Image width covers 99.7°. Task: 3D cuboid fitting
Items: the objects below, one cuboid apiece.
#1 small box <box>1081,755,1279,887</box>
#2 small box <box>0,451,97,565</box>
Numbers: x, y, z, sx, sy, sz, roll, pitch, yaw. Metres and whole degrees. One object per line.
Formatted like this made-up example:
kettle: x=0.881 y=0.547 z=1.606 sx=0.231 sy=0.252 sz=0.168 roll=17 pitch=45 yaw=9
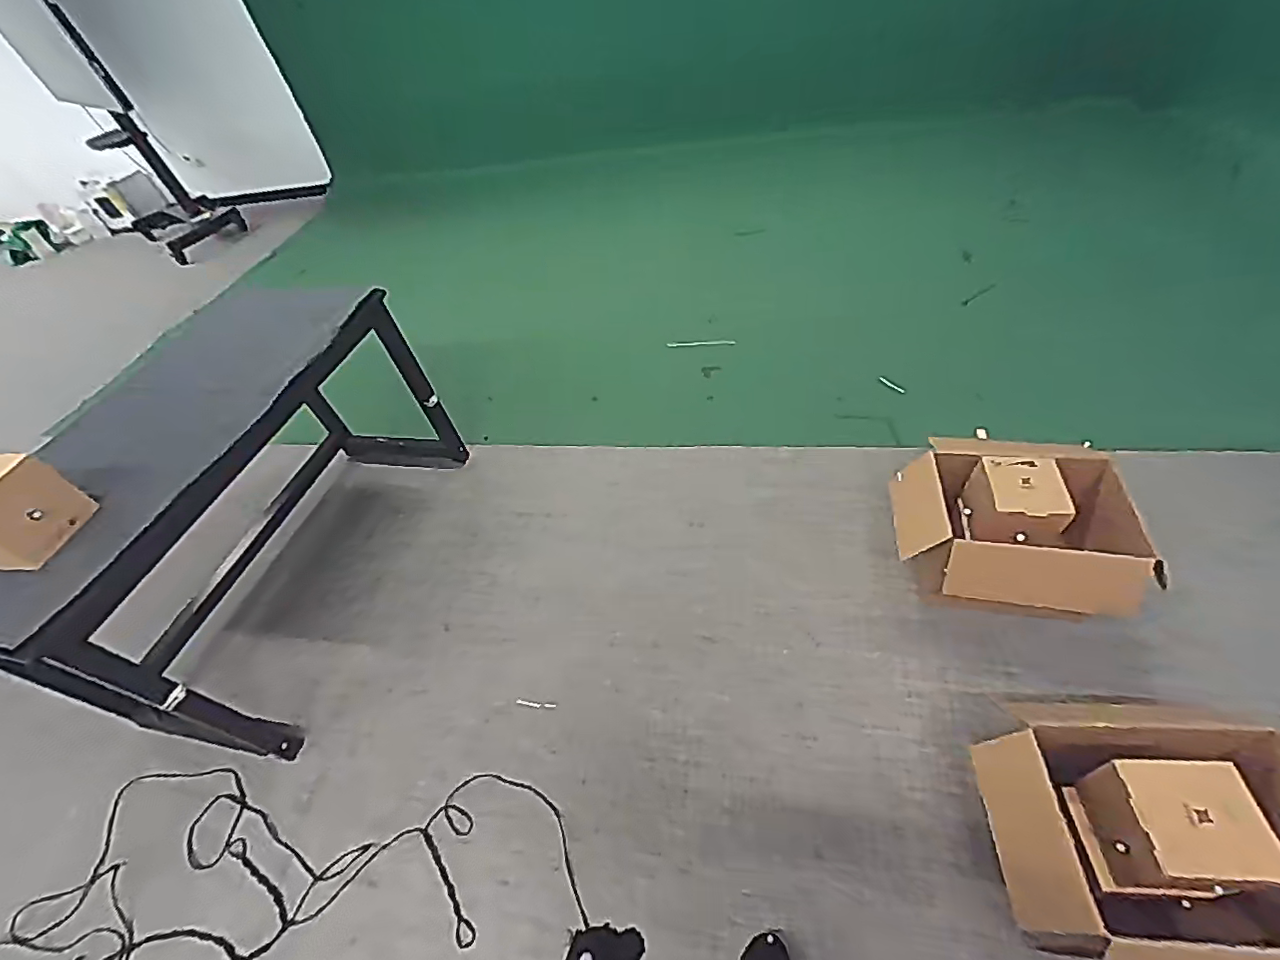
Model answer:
small box: x=0.897 y=0.580 z=0.917 sx=0.179 sy=0.176 sz=0.168 roll=-4 pitch=49 yaw=10
small box: x=-1.275 y=0.058 z=1.083 sx=0.179 sy=0.176 sz=0.168 roll=-1 pitch=48 yaw=12
